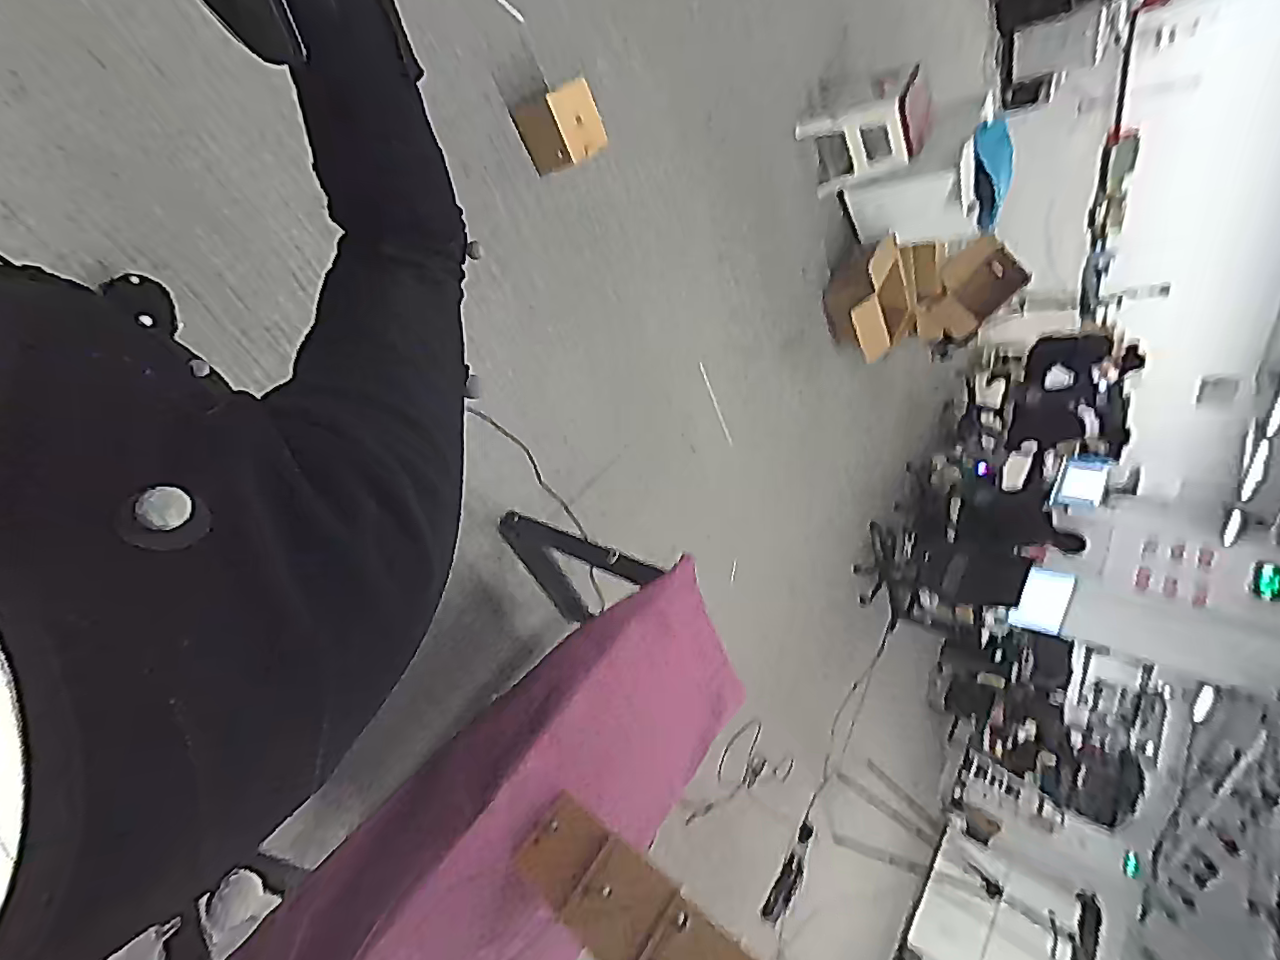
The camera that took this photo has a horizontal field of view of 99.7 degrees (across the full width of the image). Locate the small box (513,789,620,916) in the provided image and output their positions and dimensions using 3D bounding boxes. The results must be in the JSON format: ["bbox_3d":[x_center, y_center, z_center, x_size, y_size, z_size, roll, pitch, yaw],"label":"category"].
[{"bbox_3d":[-0.123,0.775,1.103,0.168,0.176,0.179,-45,128,-30],"label":"small box"}]

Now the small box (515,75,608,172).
[{"bbox_3d":[-0.232,-1.038,1.585,0.168,0.176,0.179,-49,131,-26],"label":"small box"}]

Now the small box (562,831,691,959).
[{"bbox_3d":[-0.008,0.789,0.986,0.168,0.176,0.179,-46,130,-30],"label":"small box"}]

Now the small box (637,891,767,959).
[{"bbox_3d":[0.104,0.812,0.868,0.168,0.176,0.179,-45,130,-30],"label":"small box"}]
